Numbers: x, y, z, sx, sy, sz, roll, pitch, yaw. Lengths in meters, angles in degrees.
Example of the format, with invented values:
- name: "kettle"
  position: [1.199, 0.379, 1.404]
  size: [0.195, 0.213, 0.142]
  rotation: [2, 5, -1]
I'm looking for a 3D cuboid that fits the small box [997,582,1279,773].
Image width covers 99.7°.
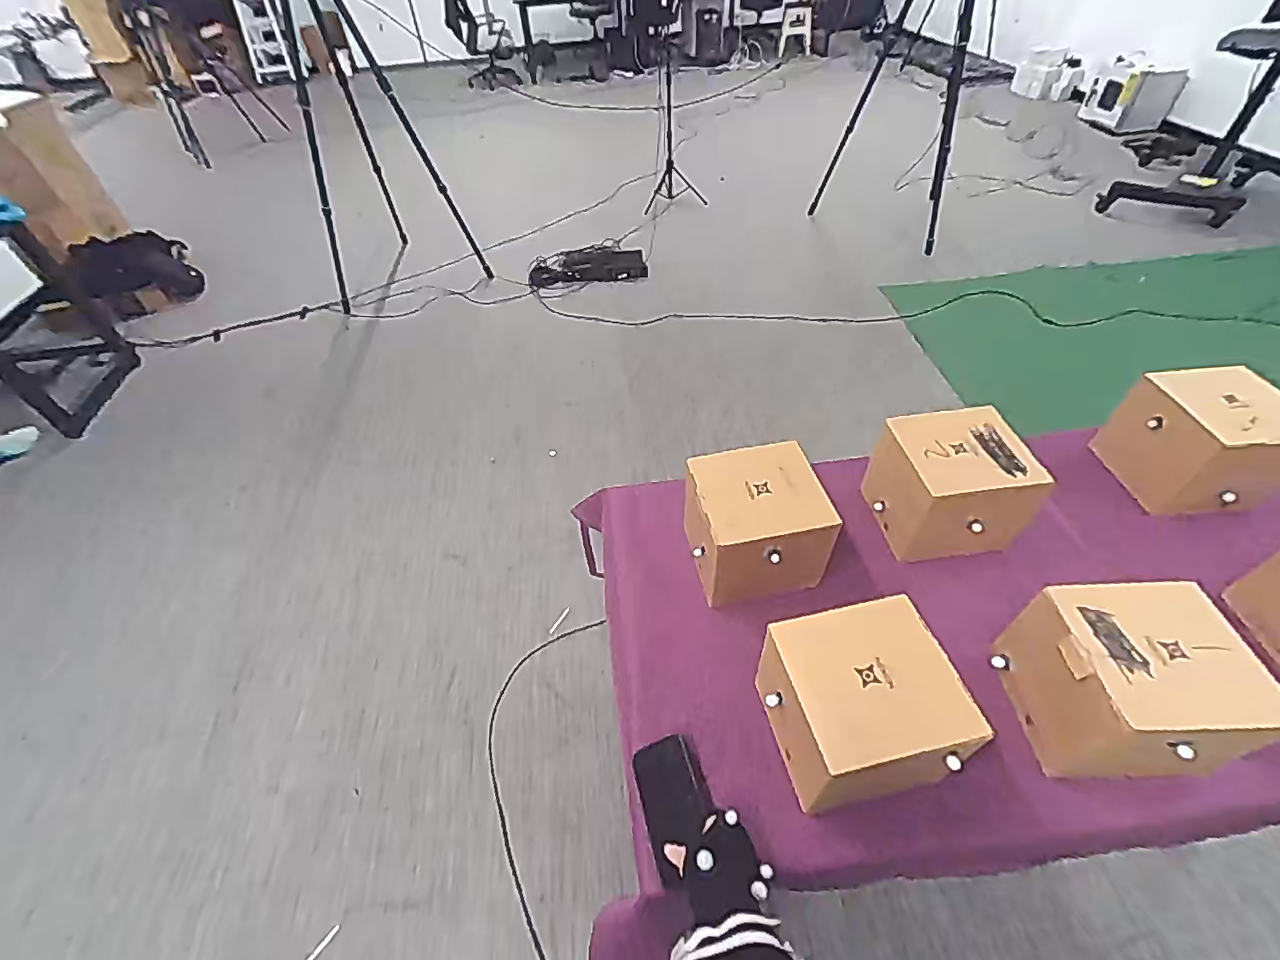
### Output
- name: "small box"
  position: [0.567, 0.238, 0.645]
  size: [0.179, 0.176, 0.168]
  rotation: [-2, 47, 1]

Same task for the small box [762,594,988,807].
- name: "small box"
  position: [0.255, 0.265, 0.643]
  size: [0.179, 0.176, 0.168]
  rotation: [-10, 47, -7]

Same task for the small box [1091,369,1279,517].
- name: "small box"
  position: [0.912, -0.060, 0.893]
  size: [0.168, 0.176, 0.179]
  rotation: [-4, 48, 1]

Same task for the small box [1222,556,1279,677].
- name: "small box"
  position: [0.930, 0.171, 0.682]
  size: [0.179, 0.176, 0.168]
  rotation: [-1, 47, 2]
